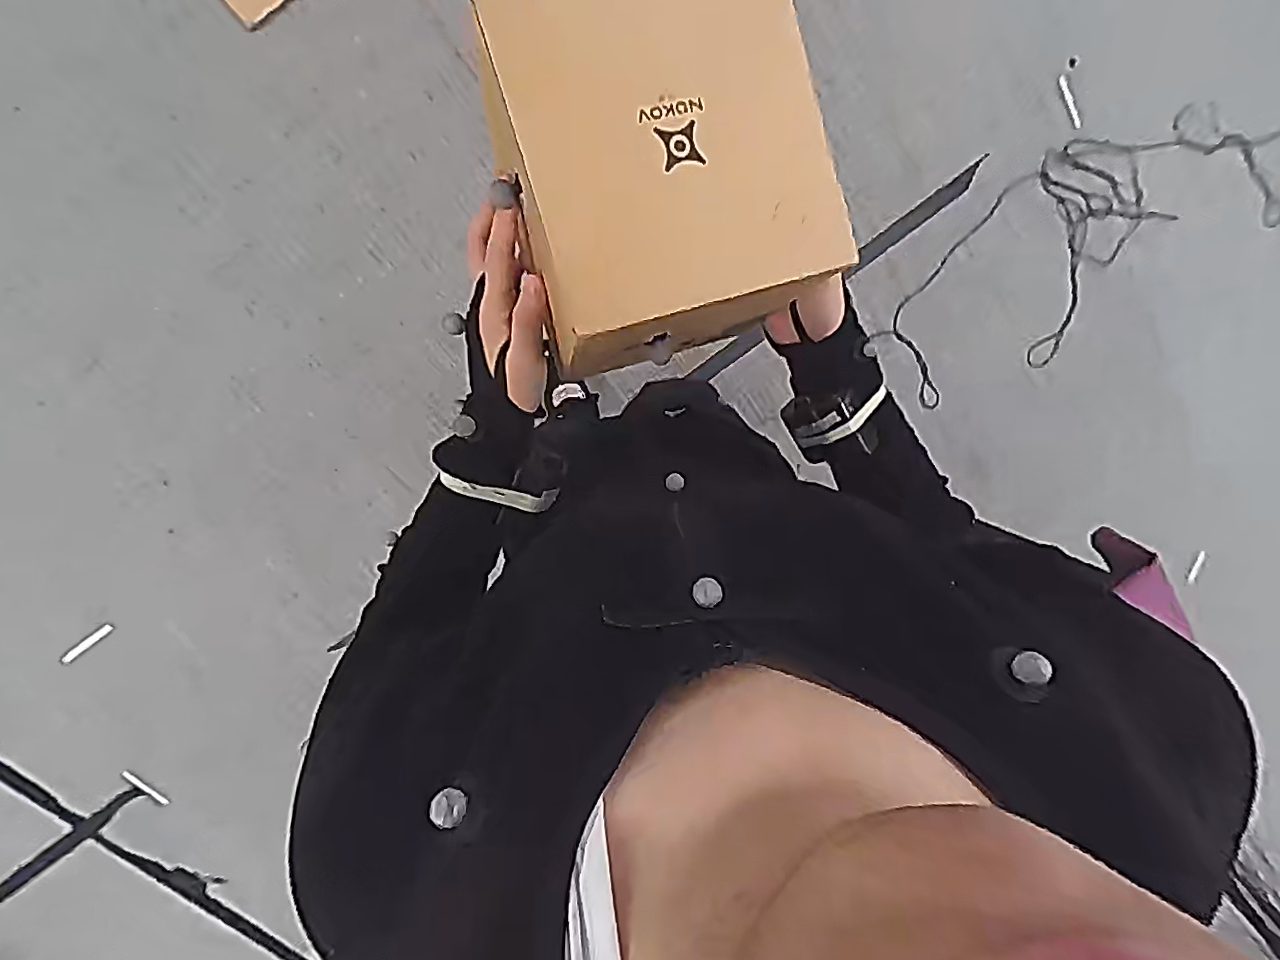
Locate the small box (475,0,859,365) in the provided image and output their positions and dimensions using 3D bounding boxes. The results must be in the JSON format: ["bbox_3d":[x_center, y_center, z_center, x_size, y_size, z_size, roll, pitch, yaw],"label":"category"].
[{"bbox_3d":[0.008,-0.184,0.356,0.168,0.176,0.179,-18,94,-9],"label":"small box"}]
